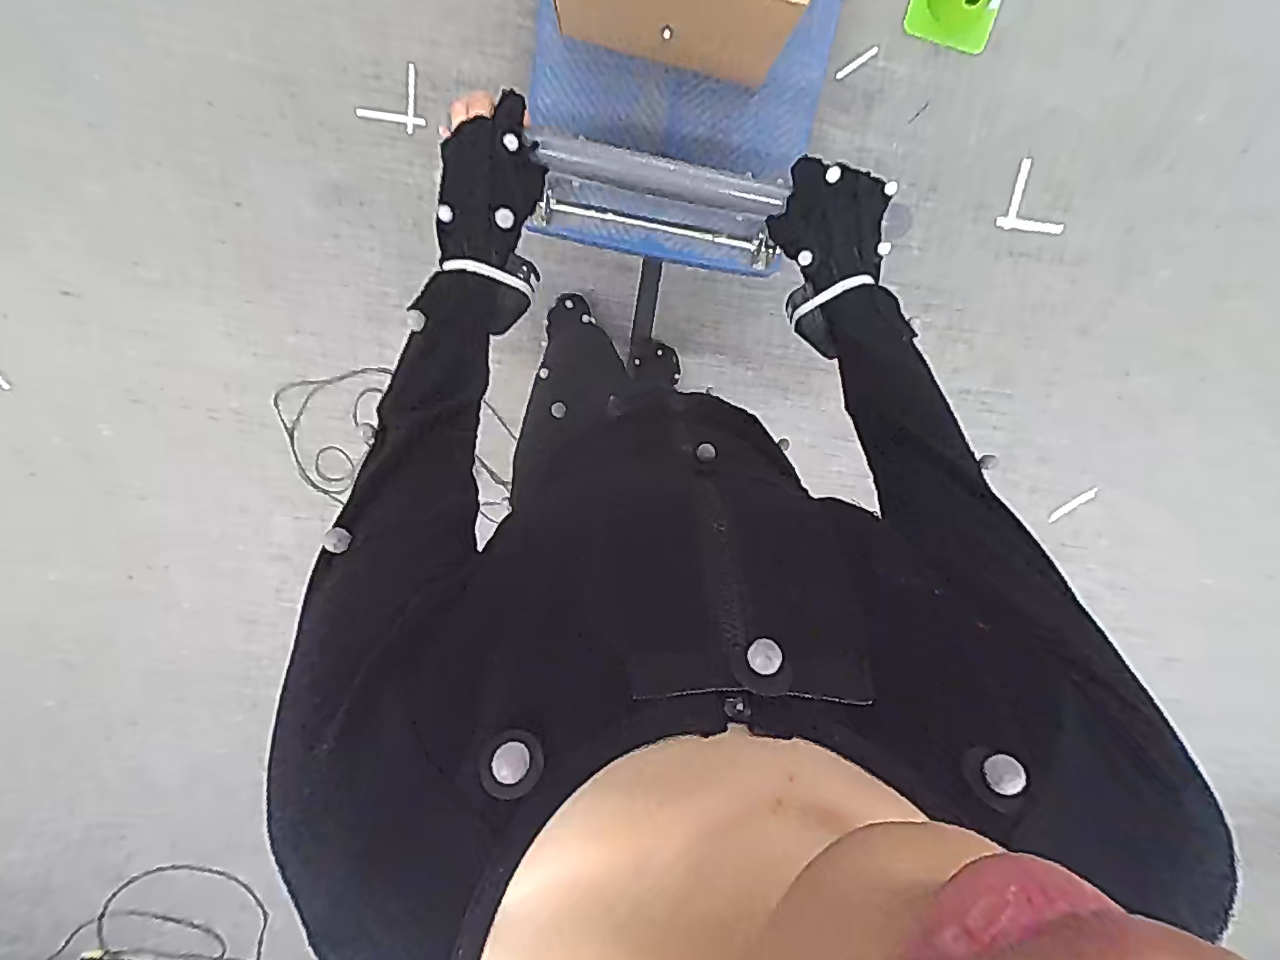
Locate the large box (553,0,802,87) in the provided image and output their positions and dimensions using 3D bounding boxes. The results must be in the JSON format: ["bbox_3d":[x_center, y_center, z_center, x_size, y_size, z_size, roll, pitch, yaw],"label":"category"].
[{"bbox_3d":[0.075,-0.930,0.907,0.408,0.320,0.320,11,105,-5],"label":"large box"}]

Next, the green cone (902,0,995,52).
[{"bbox_3d":[0.714,-1.047,1.047,0.202,0.368,0.200,11,105,-7],"label":"green cone"}]
